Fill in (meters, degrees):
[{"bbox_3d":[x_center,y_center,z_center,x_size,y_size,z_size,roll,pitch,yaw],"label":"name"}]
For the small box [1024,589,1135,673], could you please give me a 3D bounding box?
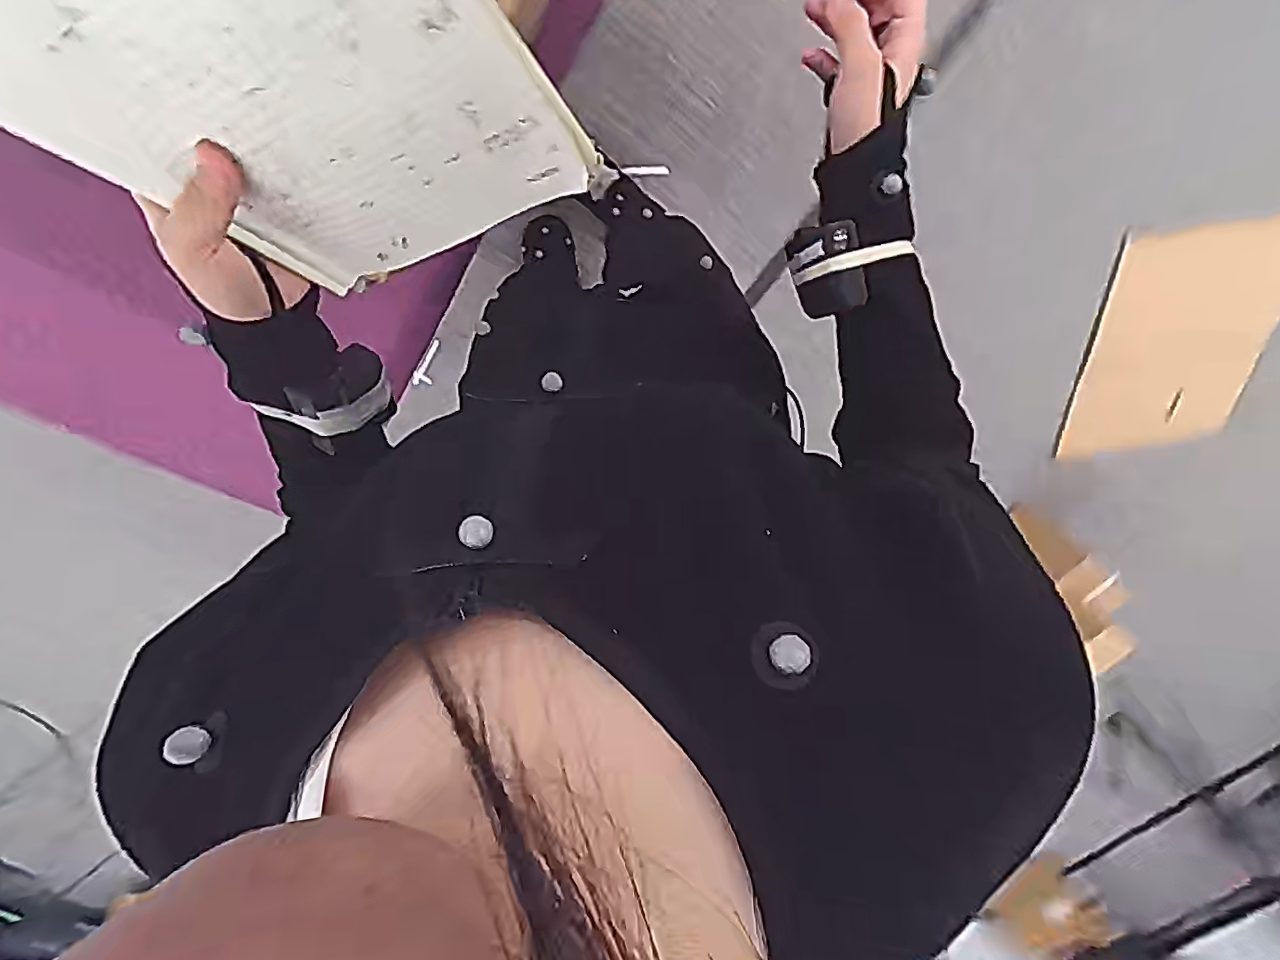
[{"bbox_3d":[1.365,0.468,1.693,0.179,0.176,0.168,25,114,-22],"label":"small box"}]
